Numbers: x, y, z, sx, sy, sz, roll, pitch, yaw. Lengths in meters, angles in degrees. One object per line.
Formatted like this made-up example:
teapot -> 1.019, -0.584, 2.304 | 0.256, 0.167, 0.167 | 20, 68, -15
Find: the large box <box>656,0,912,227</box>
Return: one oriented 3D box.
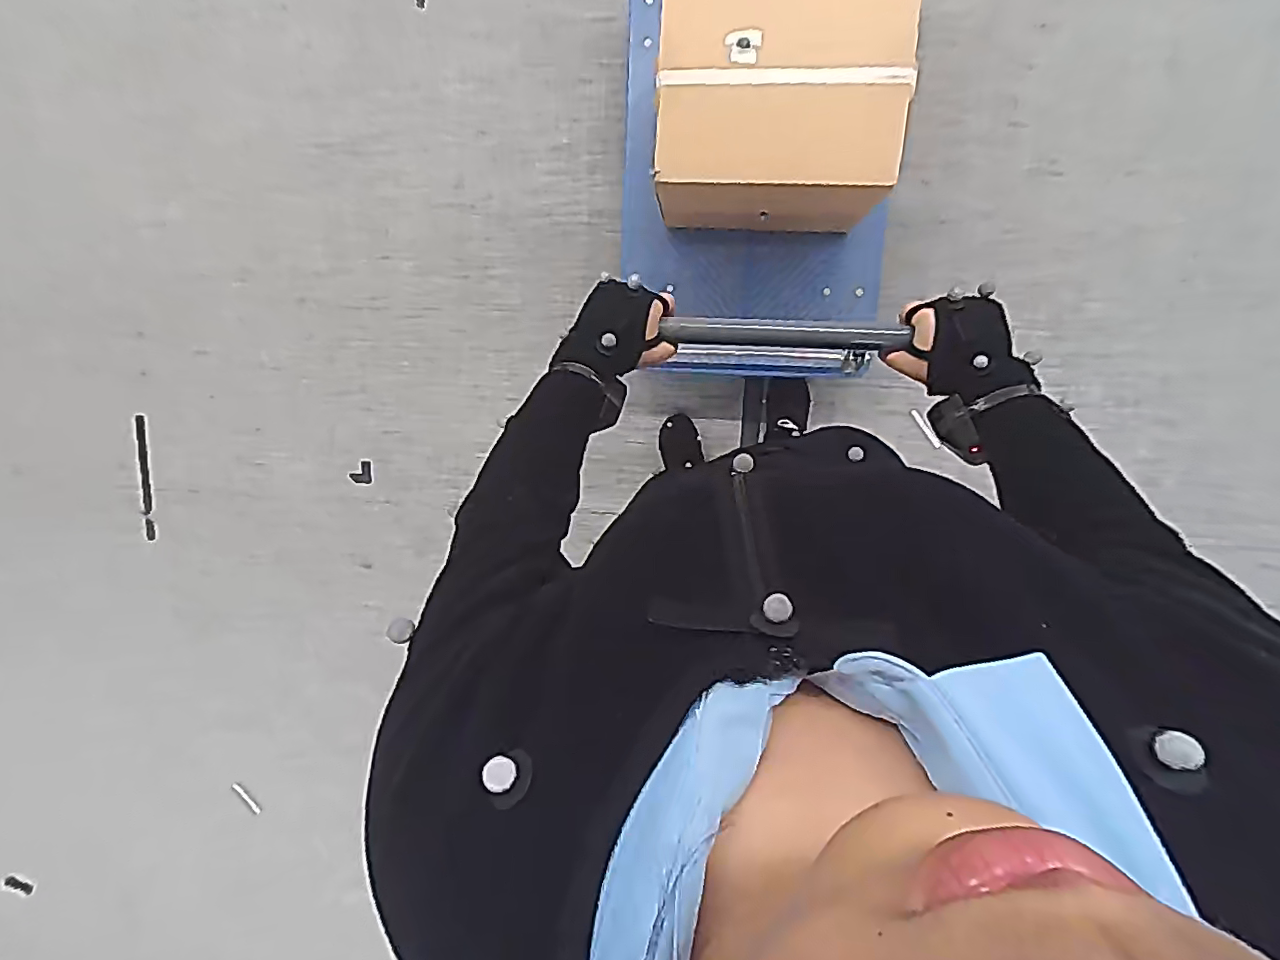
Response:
large box -> 0.251, -0.687, 1.044 | 0.408, 0.320, 0.320 | 4, 101, 7
